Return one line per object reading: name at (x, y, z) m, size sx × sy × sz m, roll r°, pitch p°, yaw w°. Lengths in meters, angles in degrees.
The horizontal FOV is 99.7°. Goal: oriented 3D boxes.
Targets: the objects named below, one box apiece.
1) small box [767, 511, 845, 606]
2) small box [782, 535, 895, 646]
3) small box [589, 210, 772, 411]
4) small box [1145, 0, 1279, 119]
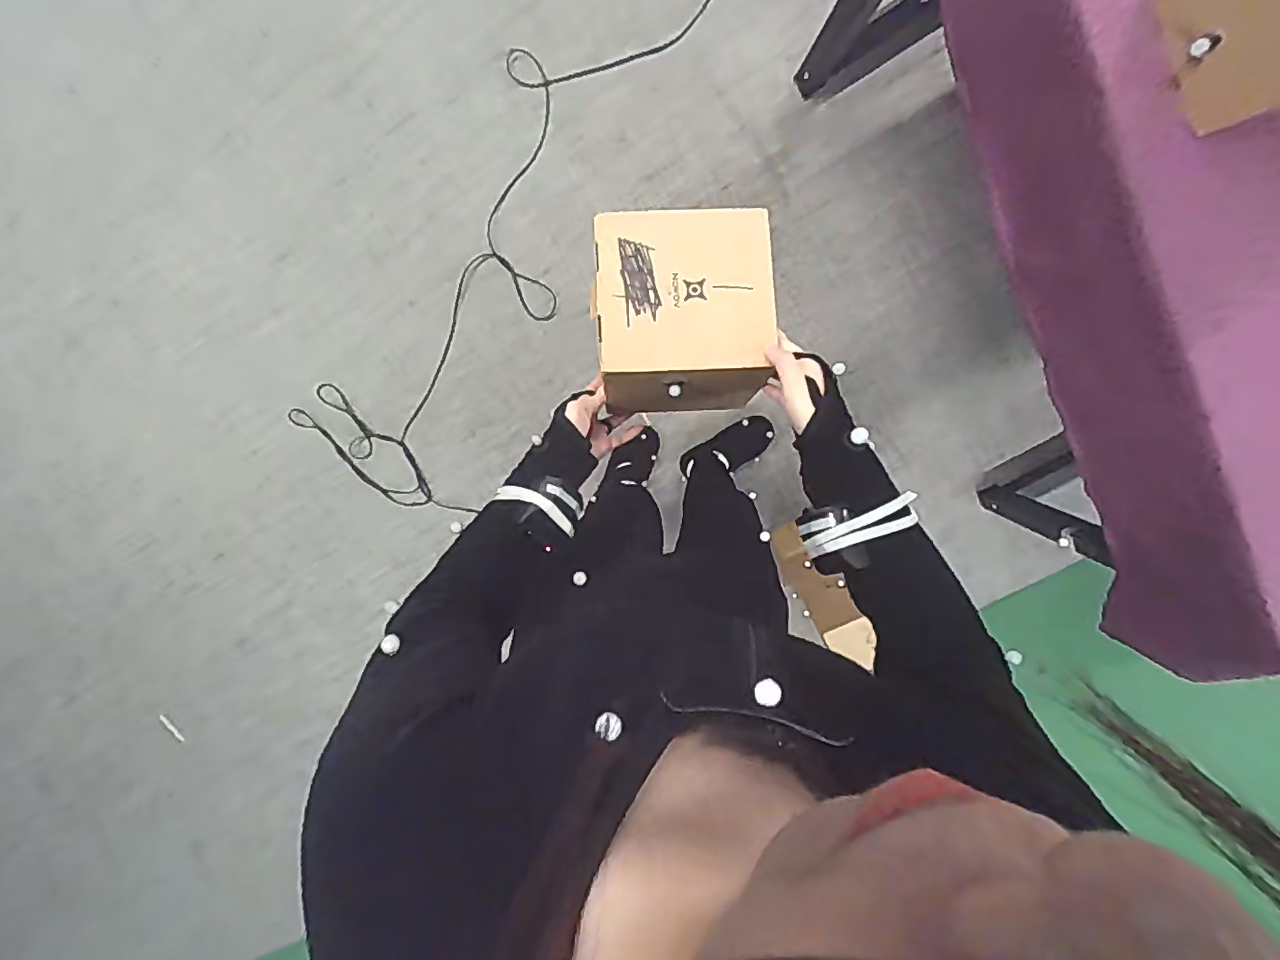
small box at (0.454, 0.198, 1.428) m, size 0.168 × 0.176 × 0.179 m, roll -26°, pitch 104°, yaw 6°
small box at (0.458, 0.248, 1.273) m, size 0.168 × 0.176 × 0.179 m, roll -28°, pitch 104°, yaw 8°
small box at (0.038, -0.179, 0.616) m, size 0.179 × 0.176 × 0.168 m, roll -3°, pitch 83°, yaw -3°
small box at (0.633, -0.473, 0.497) m, size 0.168 × 0.176 × 0.179 m, roll -31°, pitch 103°, yaw 7°
